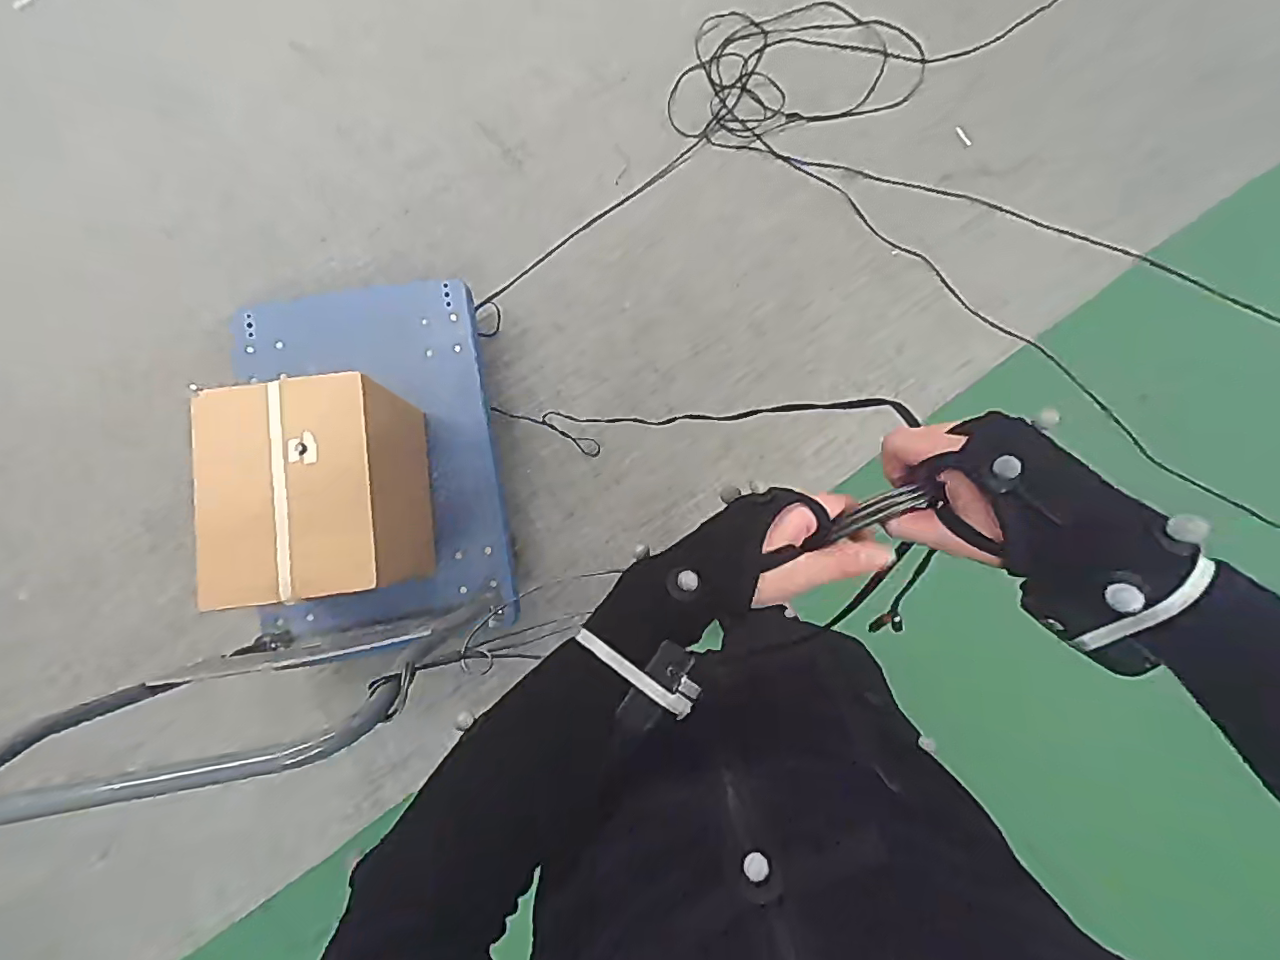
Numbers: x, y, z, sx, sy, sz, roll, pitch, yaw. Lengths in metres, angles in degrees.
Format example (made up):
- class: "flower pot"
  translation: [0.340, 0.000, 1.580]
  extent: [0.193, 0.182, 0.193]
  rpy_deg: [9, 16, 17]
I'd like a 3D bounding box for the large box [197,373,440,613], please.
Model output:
- class: "large box"
  translation: [-0.631, 0.037, 1.112]
  extent: [0.320, 0.320, 0.408]
  rpy_deg: [-7, 83, -3]
